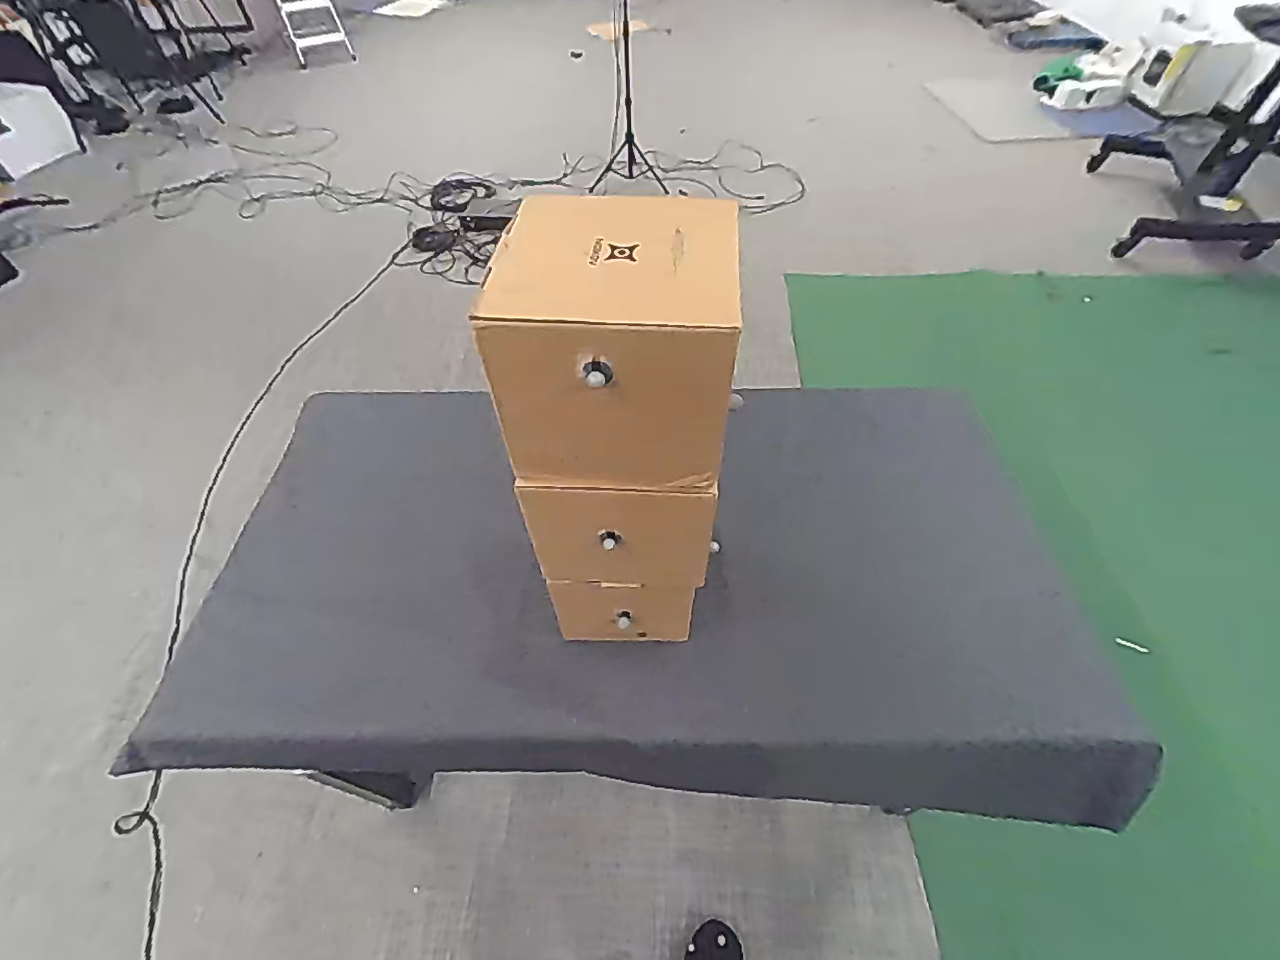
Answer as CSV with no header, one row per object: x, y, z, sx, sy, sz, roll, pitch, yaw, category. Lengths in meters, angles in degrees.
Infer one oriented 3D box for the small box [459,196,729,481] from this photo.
-0.022,-0.112,0.450,0.179,0.176,0.168,3,53,4,small box

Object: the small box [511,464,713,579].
-0.018,-0.006,0.572,0.179,0.176,0.168,0,52,4,small box

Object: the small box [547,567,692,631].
-0.018,0.088,0.707,0.168,0.176,0.179,-1,52,2,small box
